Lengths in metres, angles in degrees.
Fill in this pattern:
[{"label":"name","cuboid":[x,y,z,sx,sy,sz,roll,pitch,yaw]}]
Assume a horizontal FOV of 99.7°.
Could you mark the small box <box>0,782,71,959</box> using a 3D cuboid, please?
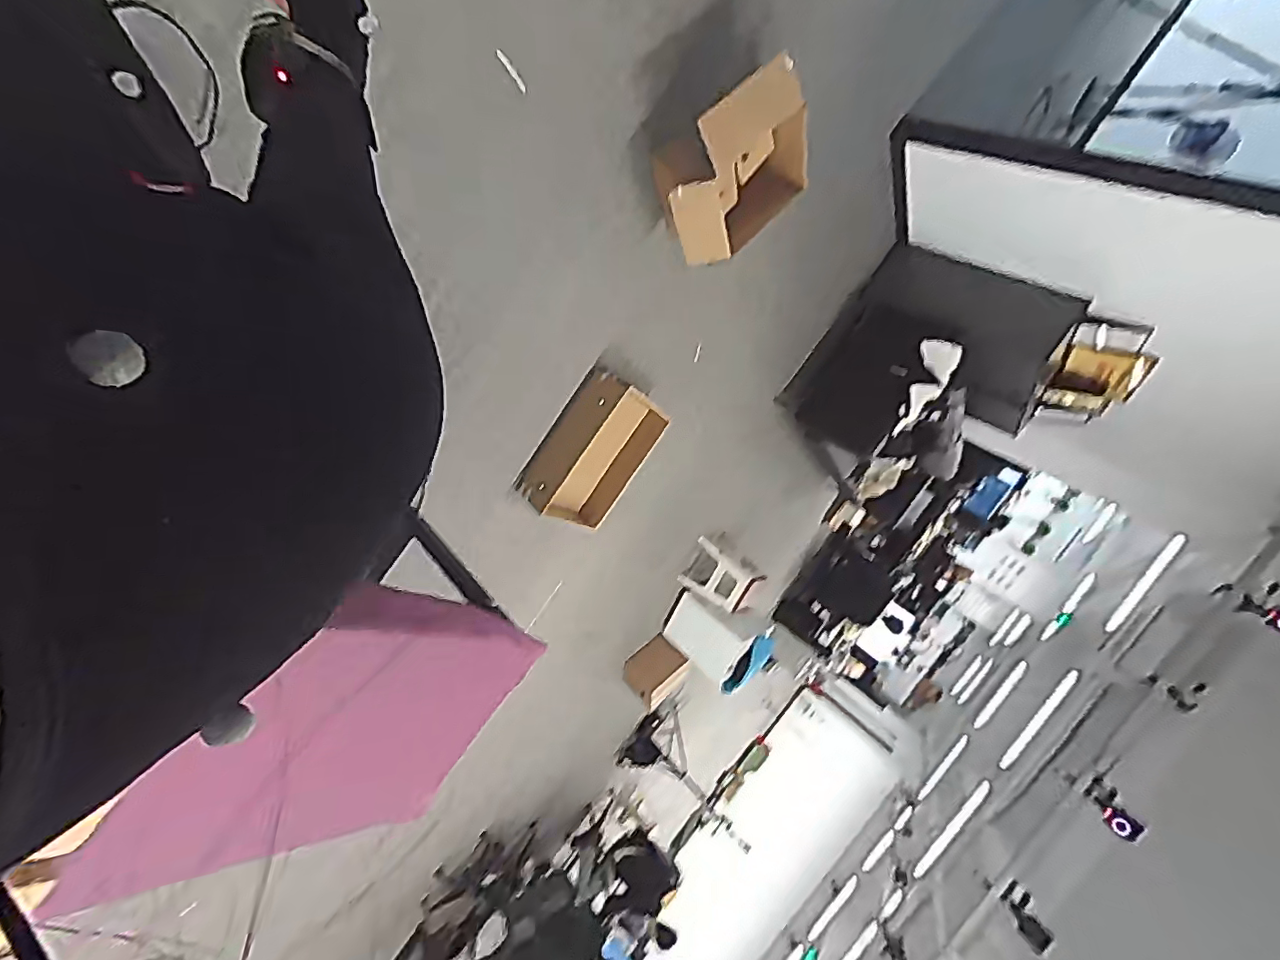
[{"label":"small box","cuboid":[-0.841,0.482,0.633,0.179,0.176,0.168,-51,149,-5]}]
